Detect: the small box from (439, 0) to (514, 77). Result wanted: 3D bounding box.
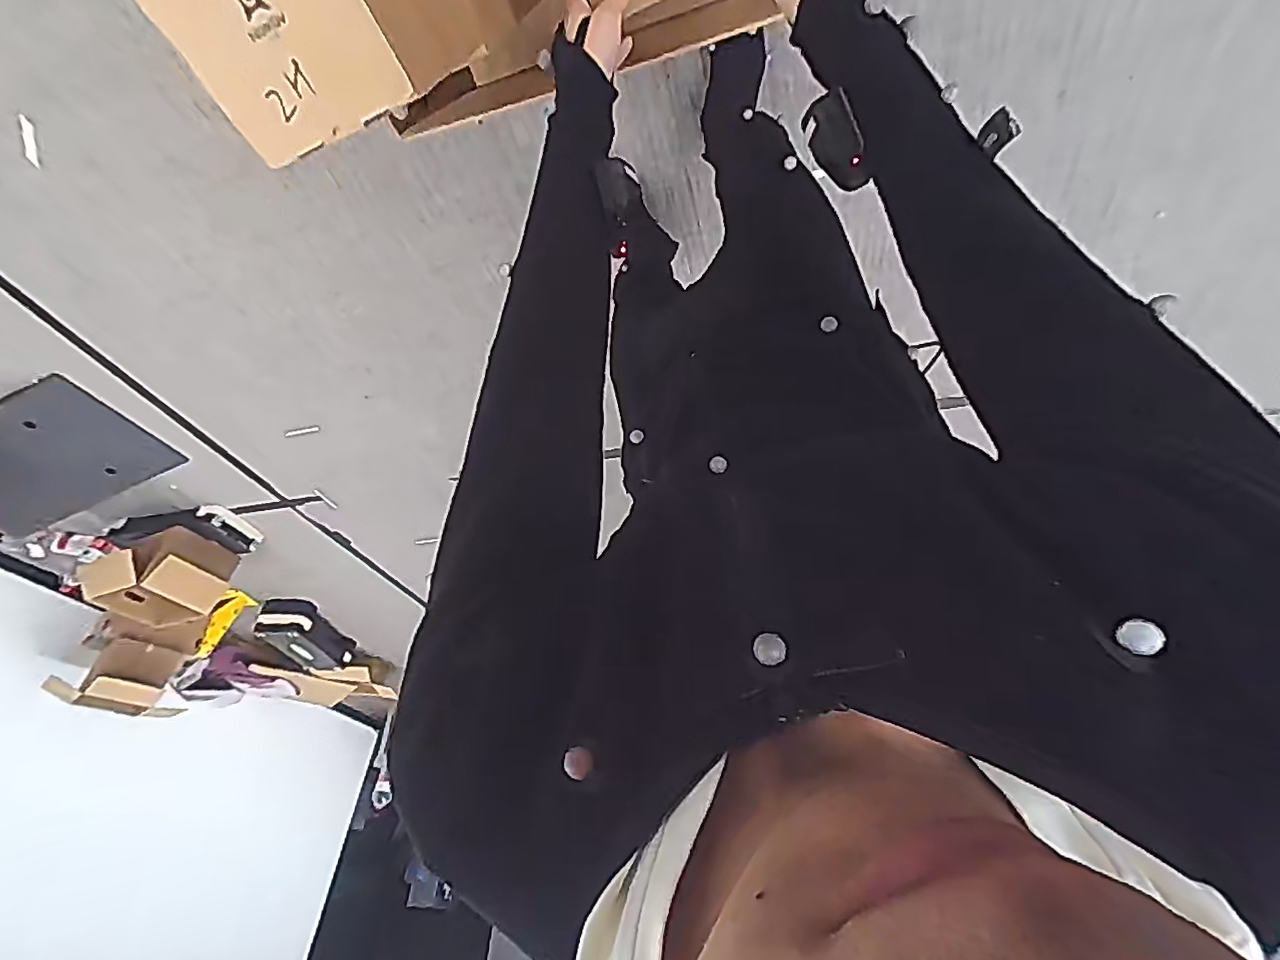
[{"bbox_3d":[-0.251,-0.527,0.552,0.168,0.176,0.179,-10,137,17],"label":"small box"}]

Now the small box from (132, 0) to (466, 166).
[{"bbox_3d":[-0.276,-0.403,0.444,0.168,0.176,0.179,-11,137,19],"label":"small box"}]
